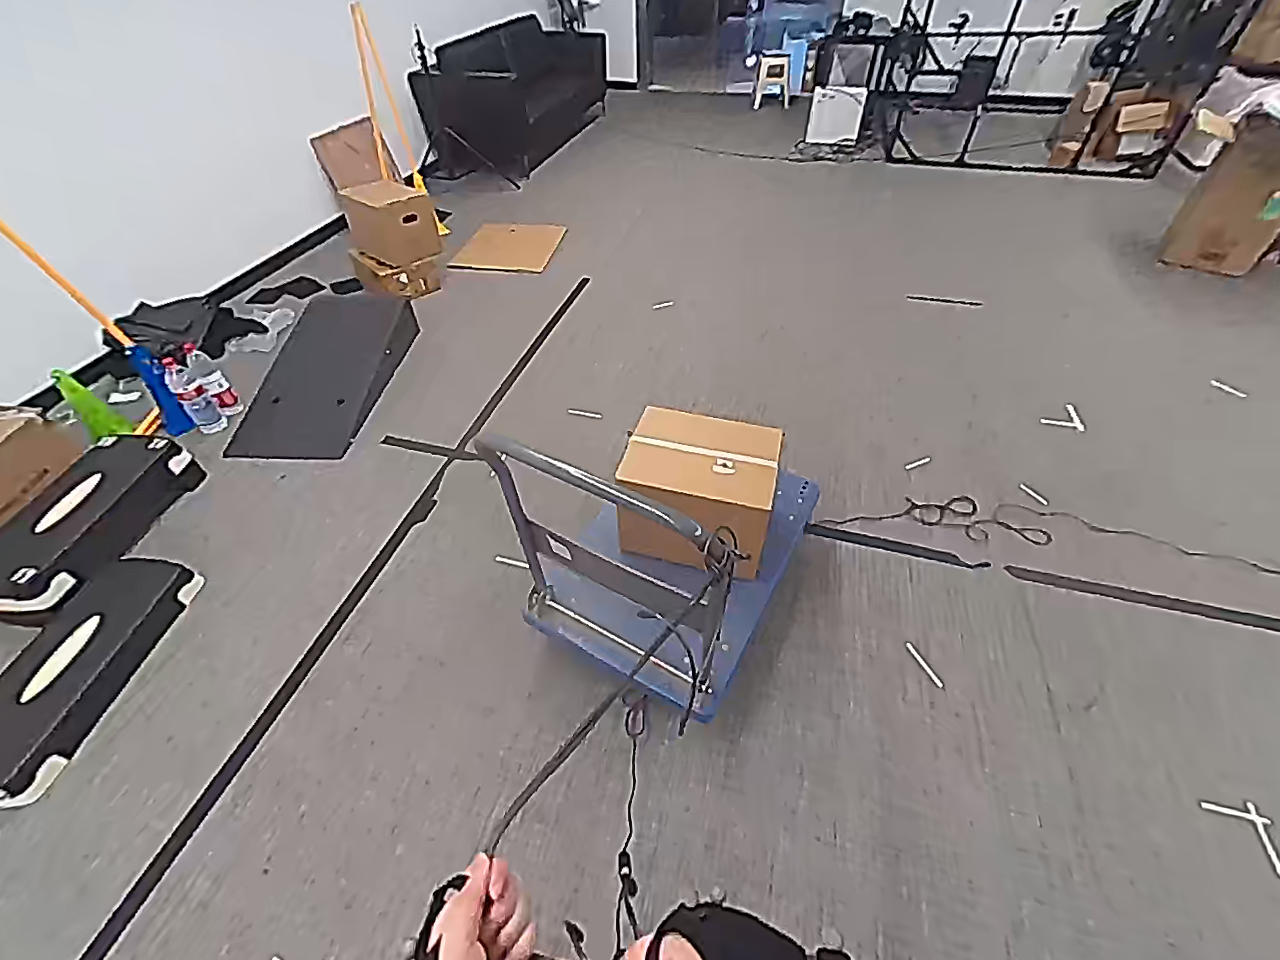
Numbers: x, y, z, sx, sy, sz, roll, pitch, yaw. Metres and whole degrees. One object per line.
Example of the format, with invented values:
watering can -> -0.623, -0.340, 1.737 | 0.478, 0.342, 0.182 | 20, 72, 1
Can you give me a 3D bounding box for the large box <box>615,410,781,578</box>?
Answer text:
large box -> 0.162, 0.038, 1.554 | 0.408, 0.320, 0.320 | 12, 48, 11
